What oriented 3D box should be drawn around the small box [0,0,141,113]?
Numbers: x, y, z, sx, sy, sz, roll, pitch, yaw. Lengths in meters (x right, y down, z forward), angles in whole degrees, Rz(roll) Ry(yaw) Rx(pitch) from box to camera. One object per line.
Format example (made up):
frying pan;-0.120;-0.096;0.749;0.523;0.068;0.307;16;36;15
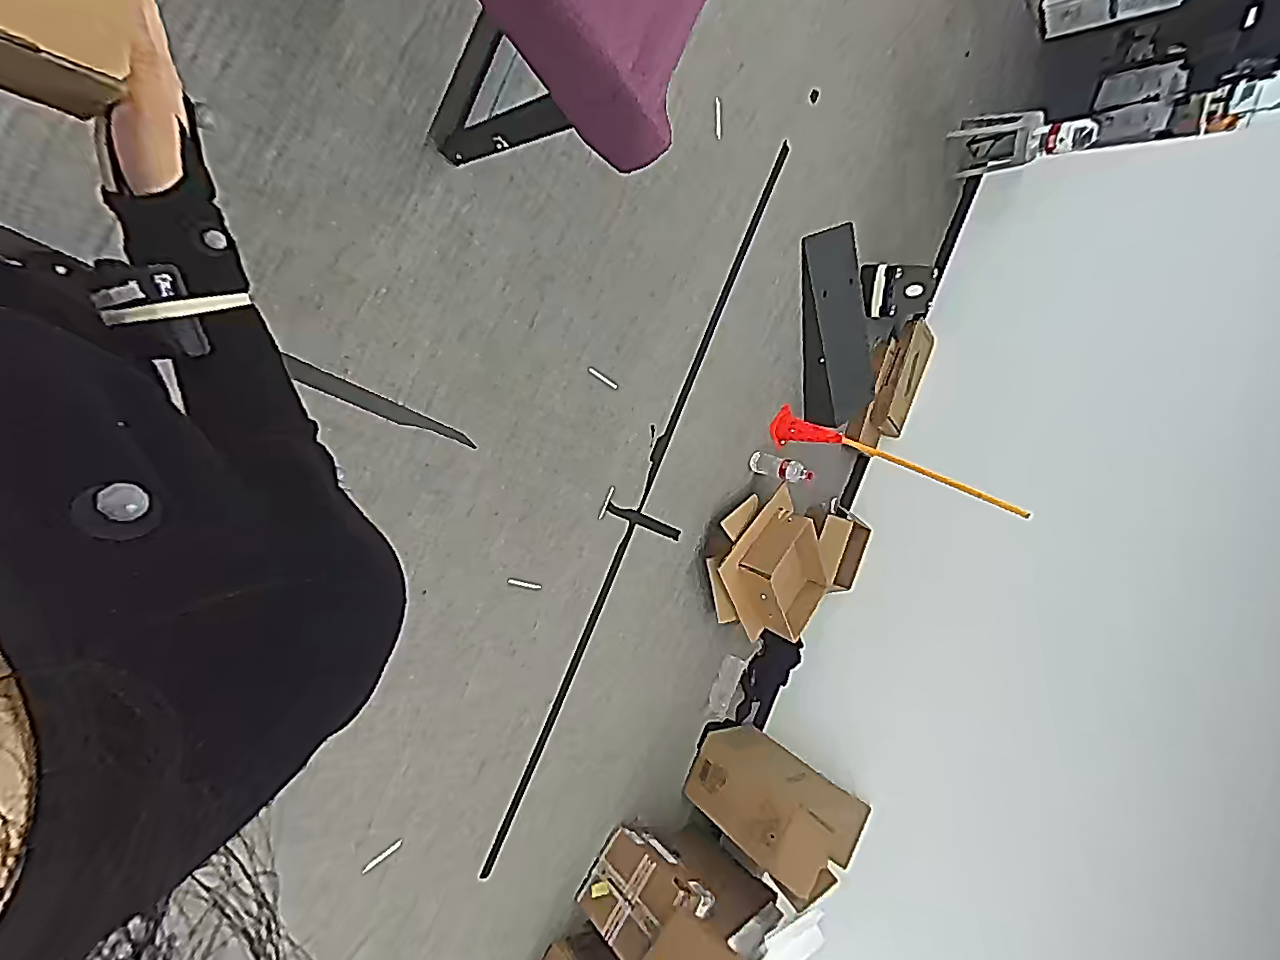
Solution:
small box;-0.347;-0.301;0.247;0.168;0.176;0.179;0;109;-51
